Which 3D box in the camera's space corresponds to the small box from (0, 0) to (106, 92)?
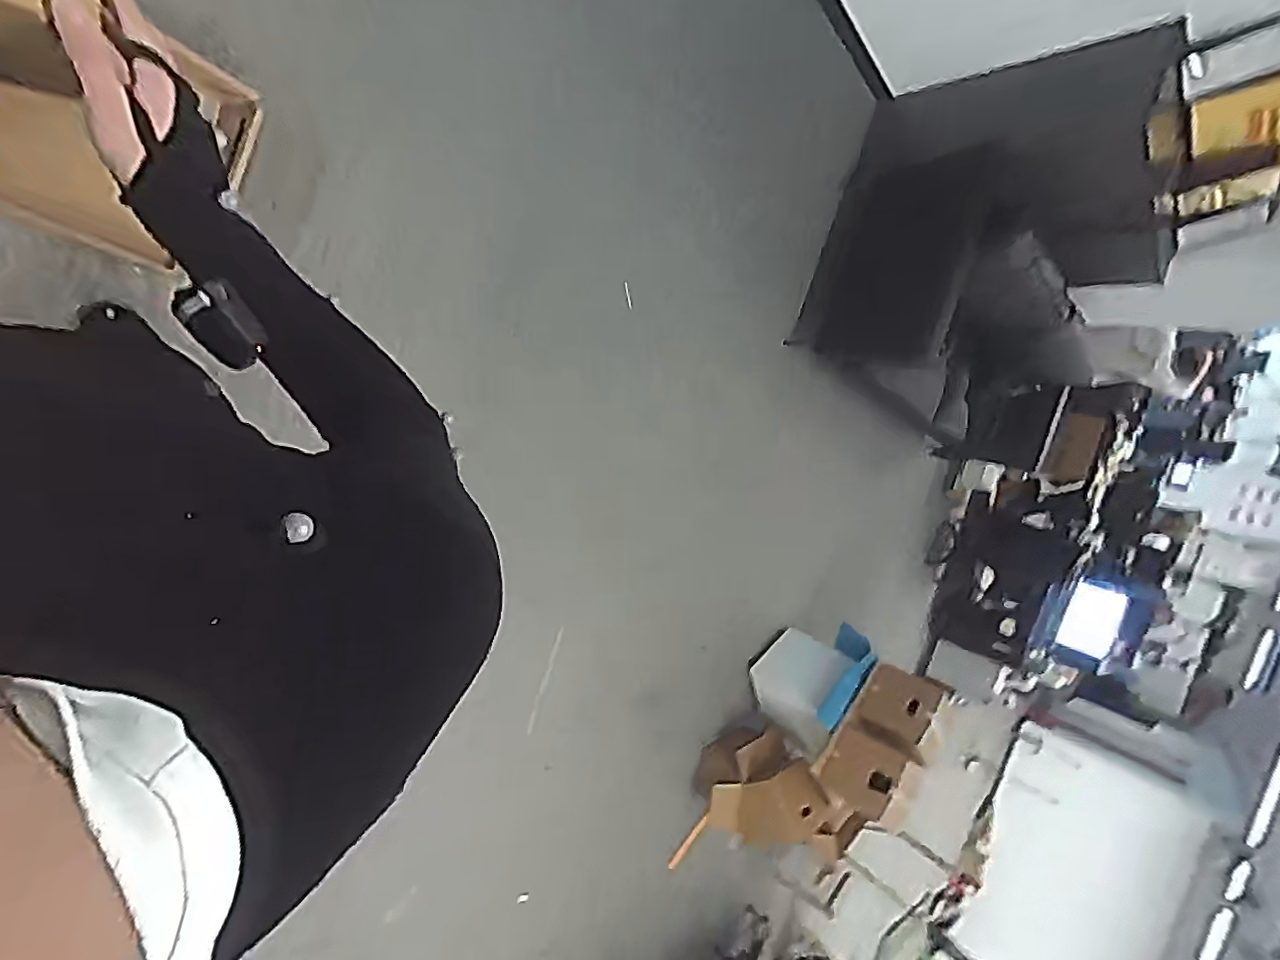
[{"bbox_3d":[-0.478,-0.394,0.352,0.168,0.176,0.179,-11,108,-42],"label":"small box"}]
